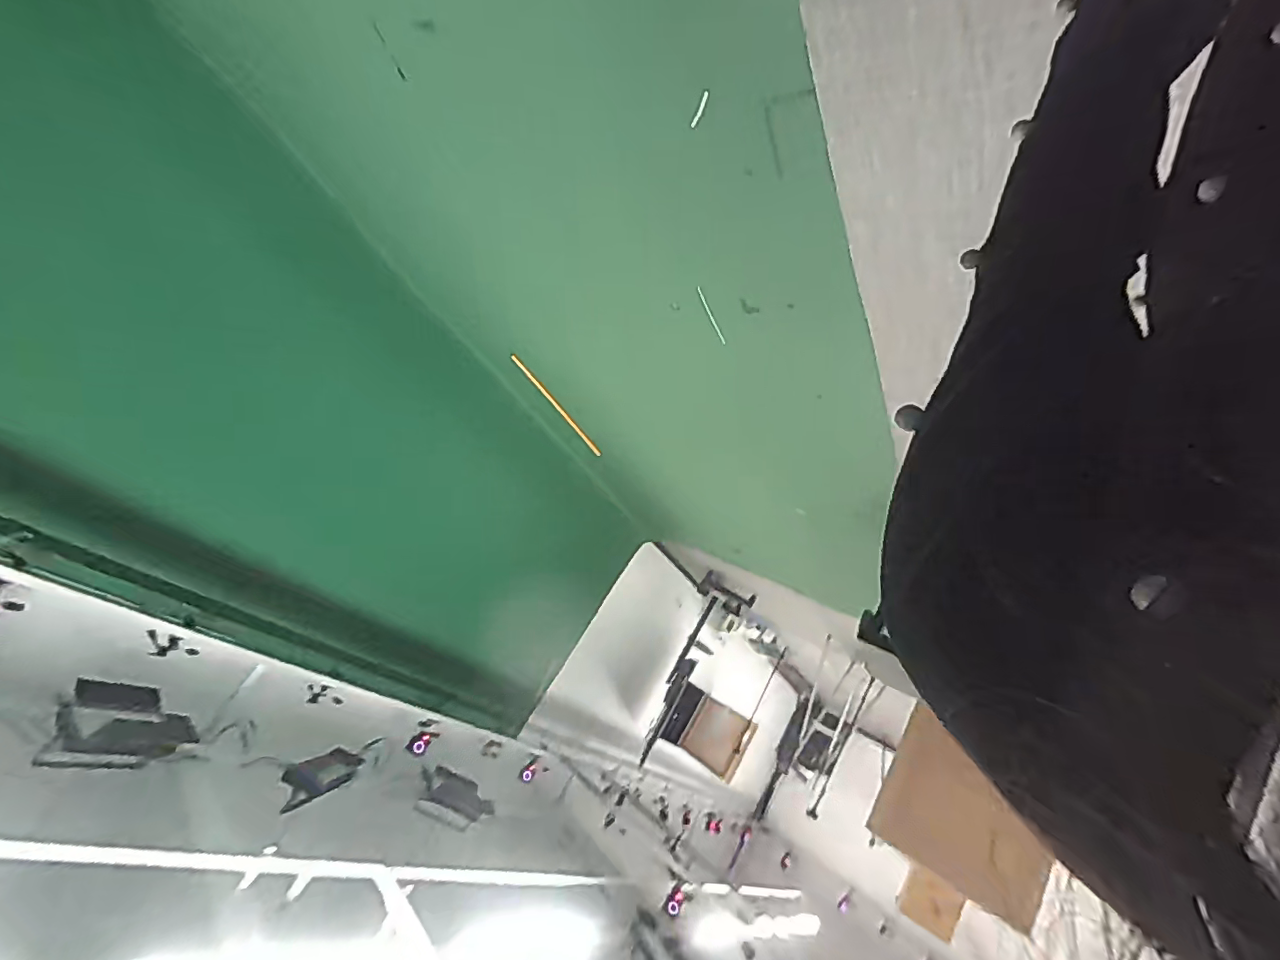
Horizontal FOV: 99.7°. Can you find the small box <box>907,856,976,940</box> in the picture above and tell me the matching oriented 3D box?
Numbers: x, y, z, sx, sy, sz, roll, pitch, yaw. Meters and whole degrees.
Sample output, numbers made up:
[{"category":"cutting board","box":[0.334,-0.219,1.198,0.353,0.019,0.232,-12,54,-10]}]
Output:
[{"category":"small box","box":[1.074,1.481,1.927,0.168,0.176,0.179,23,160,32]}]
